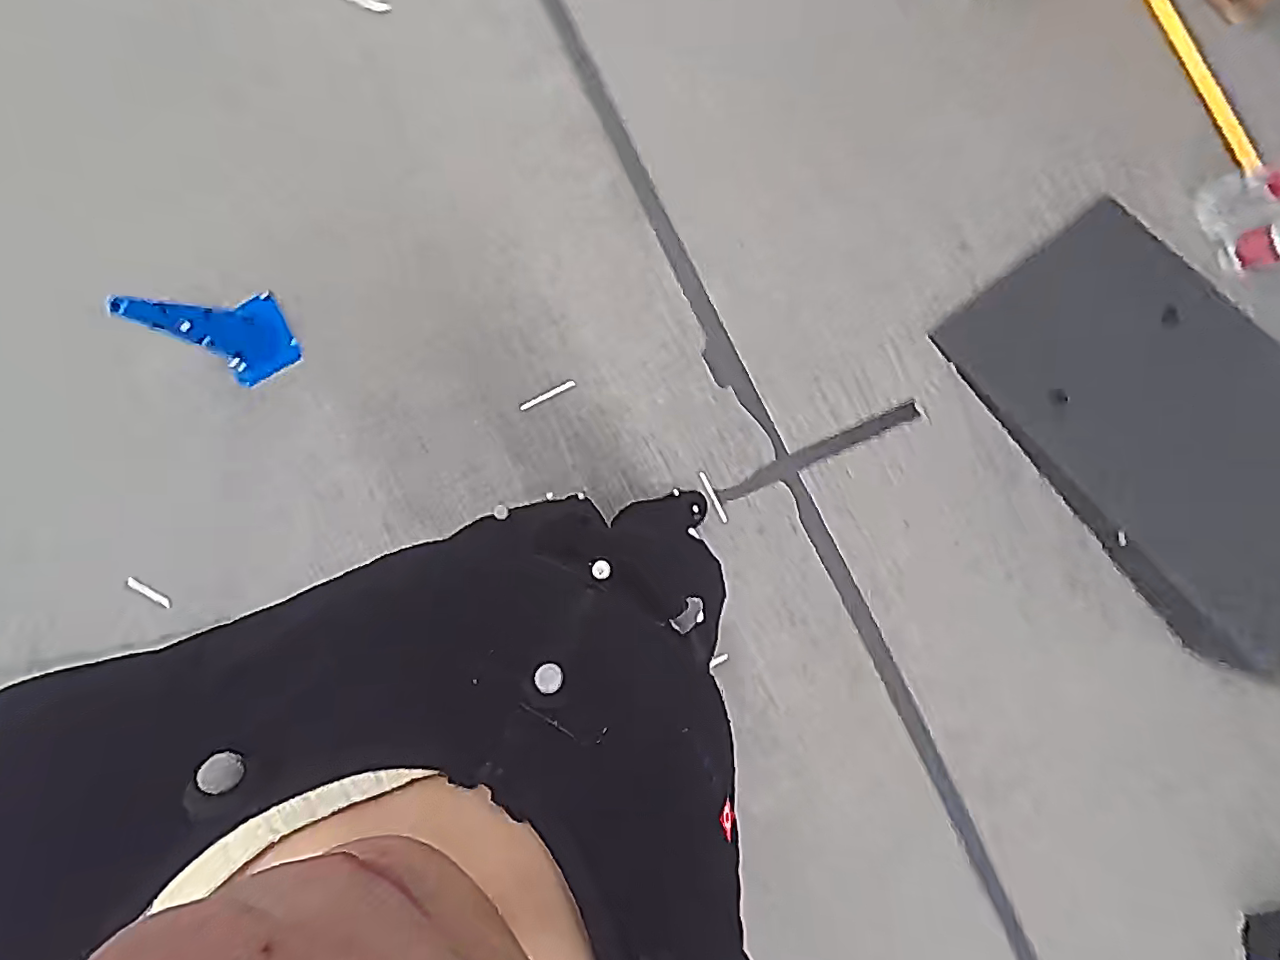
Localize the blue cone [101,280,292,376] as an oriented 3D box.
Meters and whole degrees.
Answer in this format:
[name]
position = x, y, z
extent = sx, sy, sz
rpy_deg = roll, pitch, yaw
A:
[blue cone]
position = -1.034, -0.378, 1.255
extent = 0.193, 0.380, 0.192
rpy_deg = -24, 90, 6
